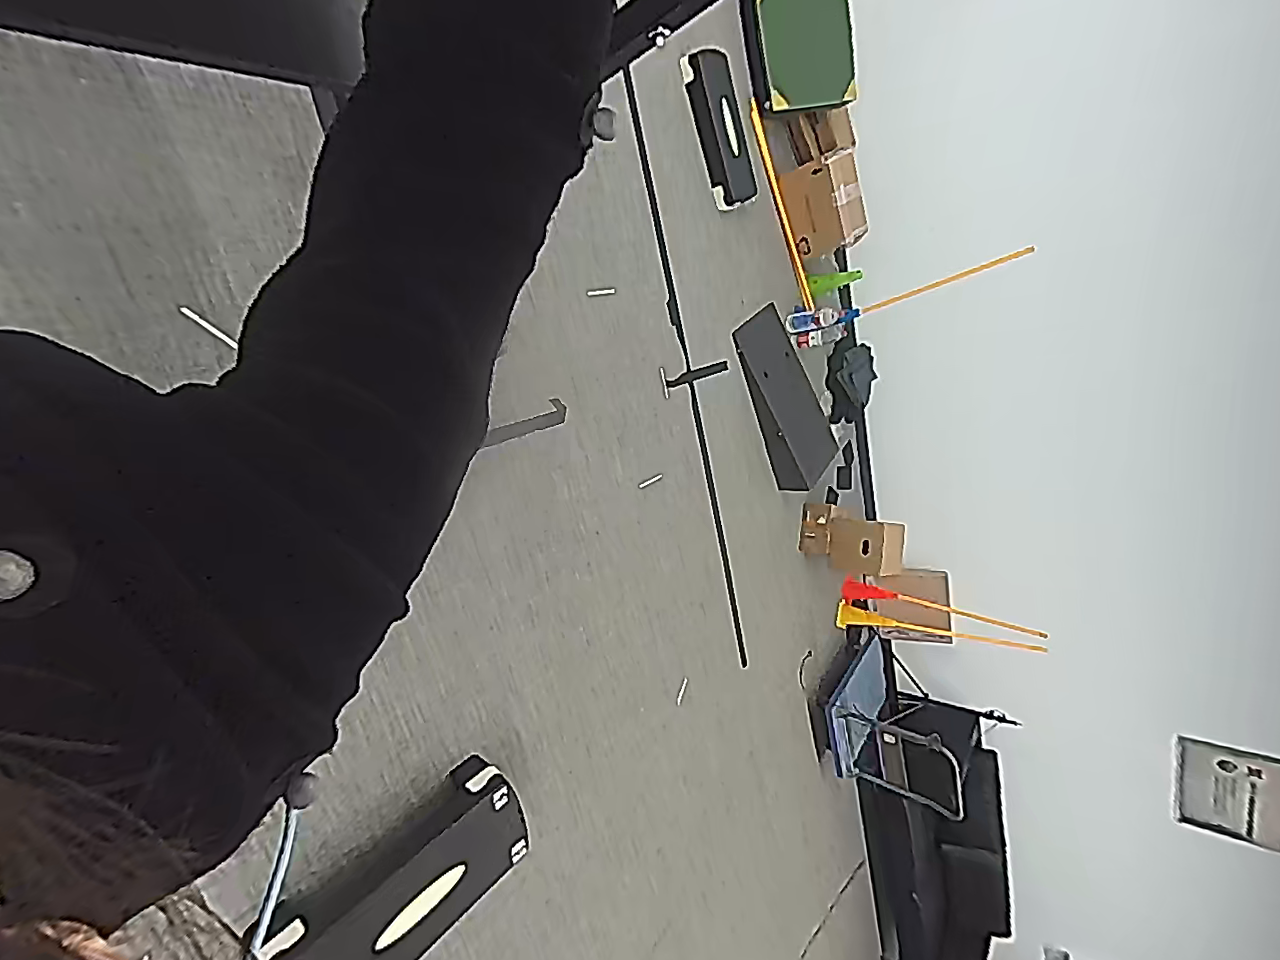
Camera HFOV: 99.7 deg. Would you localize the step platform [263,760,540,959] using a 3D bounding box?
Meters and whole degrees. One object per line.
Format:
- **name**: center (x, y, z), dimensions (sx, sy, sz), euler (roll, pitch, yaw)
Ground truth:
- **step platform**: center (-0.597, 1.099, 1.480), dimensions (0.684, 0.204, 0.286), euler (-19, 104, -47)
